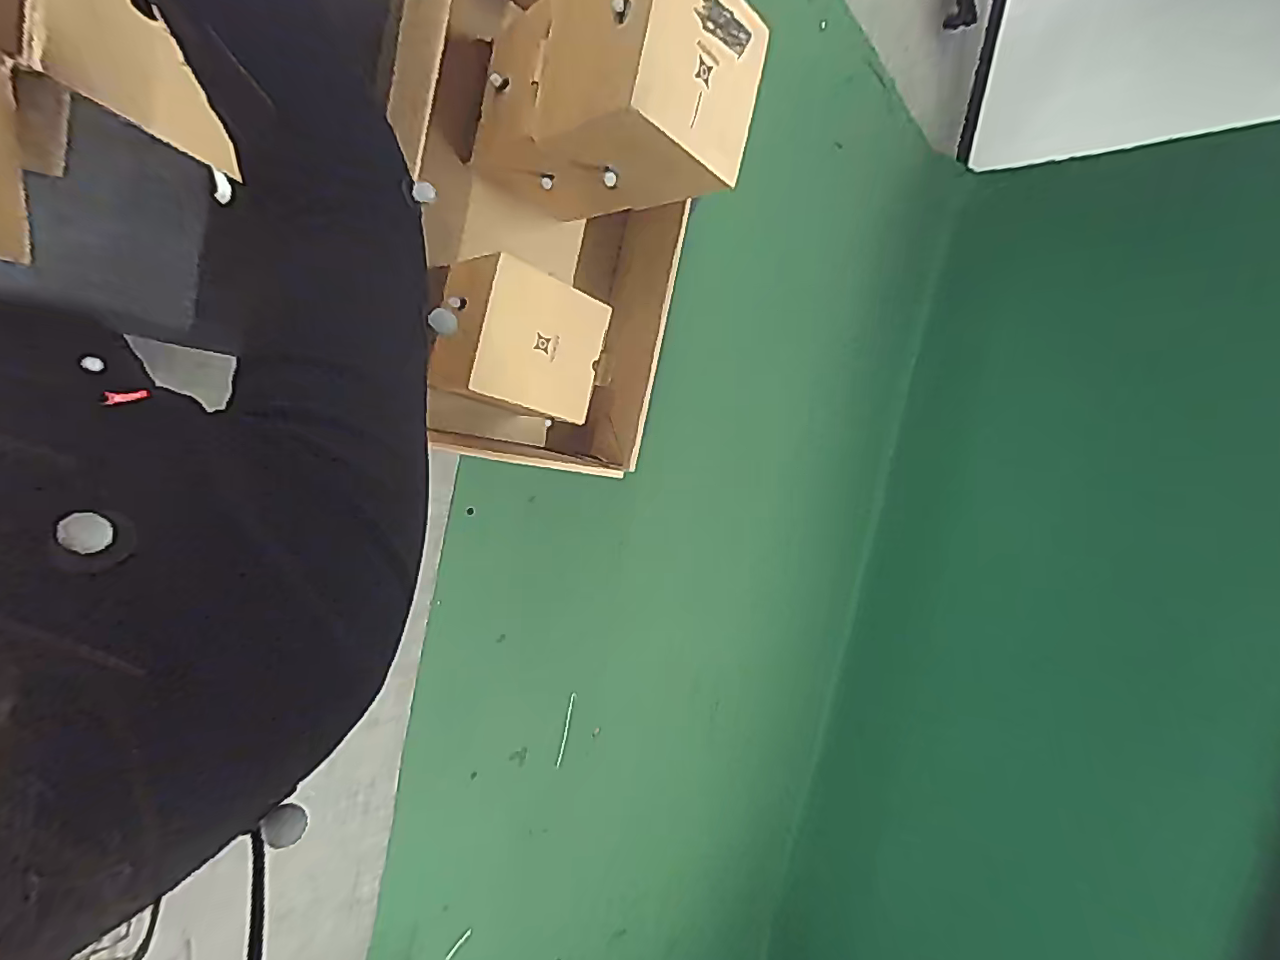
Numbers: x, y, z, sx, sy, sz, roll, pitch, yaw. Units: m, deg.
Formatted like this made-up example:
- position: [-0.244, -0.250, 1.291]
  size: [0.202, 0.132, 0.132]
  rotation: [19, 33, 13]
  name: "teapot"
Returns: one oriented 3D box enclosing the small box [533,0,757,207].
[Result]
- position: [0.001, -0.437, 0.608]
  size: [0.168, 0.176, 0.179]
  rotation: [8, 97, -45]
  name: "small box"
